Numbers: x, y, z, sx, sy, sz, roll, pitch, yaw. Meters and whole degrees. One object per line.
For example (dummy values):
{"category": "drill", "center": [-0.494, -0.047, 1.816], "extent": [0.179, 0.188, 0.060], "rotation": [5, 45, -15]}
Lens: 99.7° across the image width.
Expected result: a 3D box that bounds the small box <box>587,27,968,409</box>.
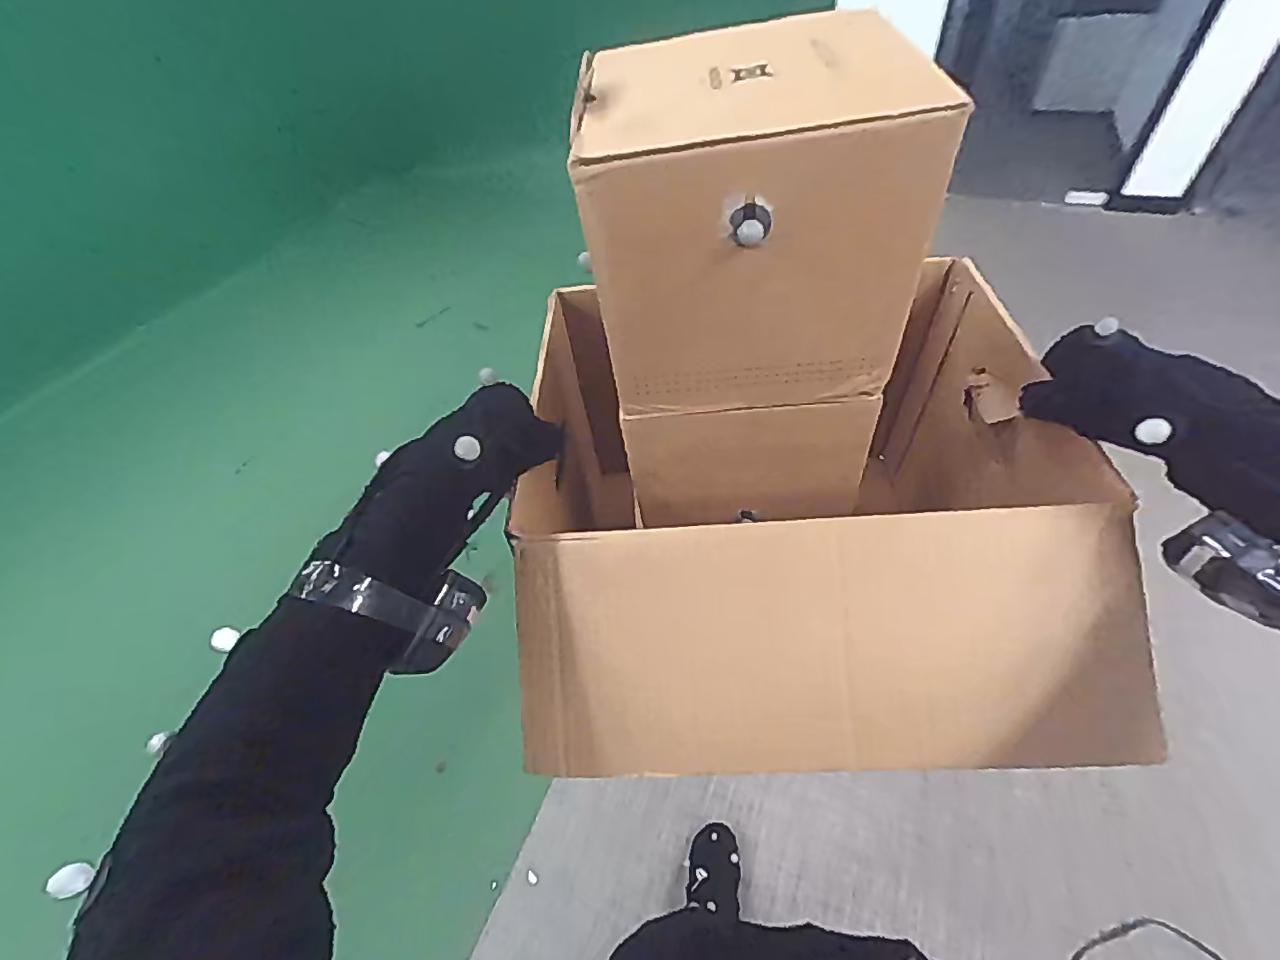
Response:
{"category": "small box", "center": [0.071, -0.162, 0.357], "extent": [0.179, 0.176, 0.168], "rotation": [-4, 52, 5]}
